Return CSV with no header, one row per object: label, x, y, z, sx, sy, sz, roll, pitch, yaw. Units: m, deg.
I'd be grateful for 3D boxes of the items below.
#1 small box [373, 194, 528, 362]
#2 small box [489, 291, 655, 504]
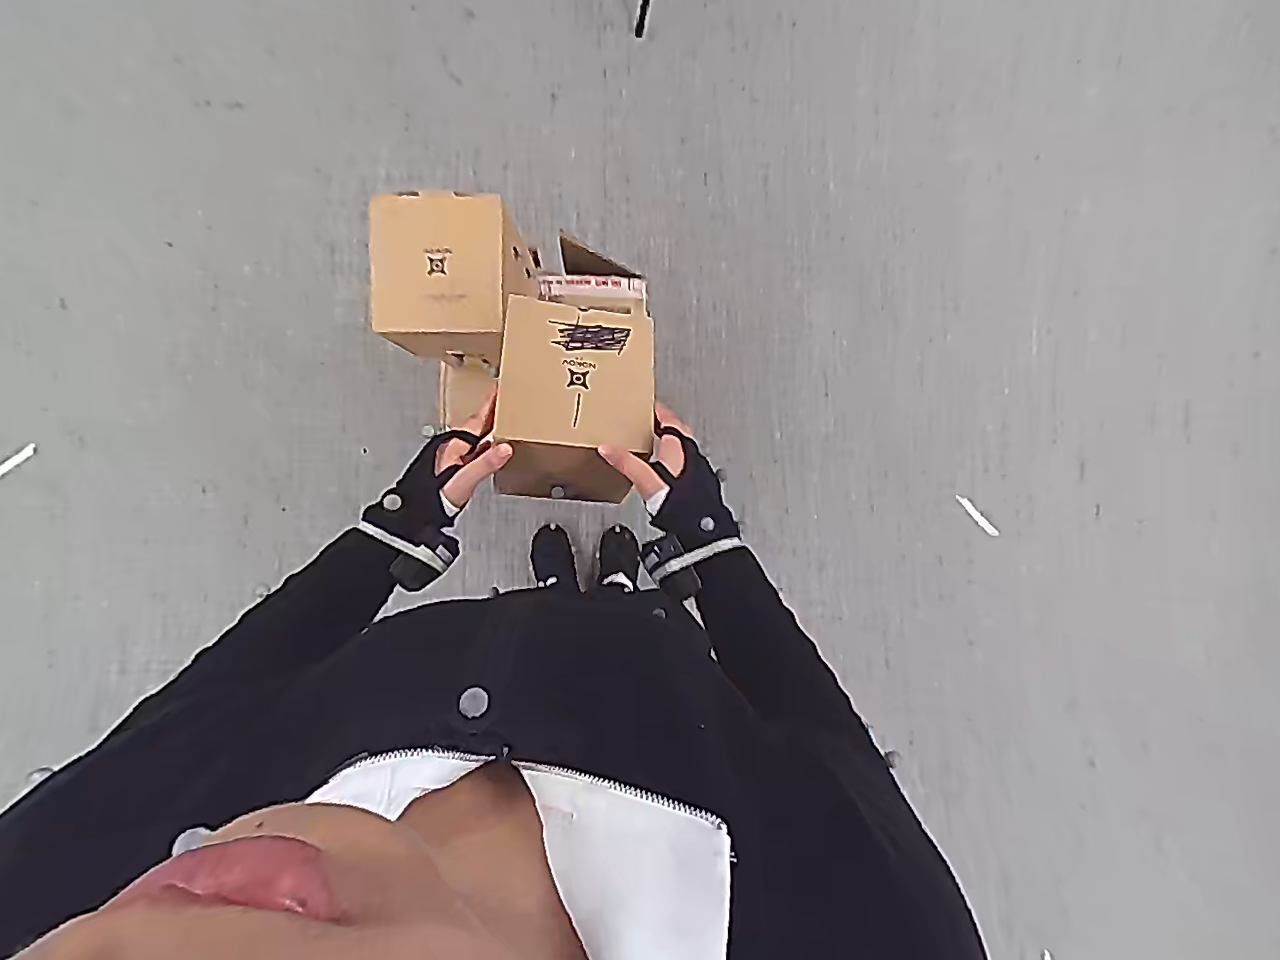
small box,-0.254,-0.271,0.758,0.168,0.176,0.179,0,91,-1
small box,-0.085,-0.085,0.636,0.168,0.176,0.179,6,68,-13
